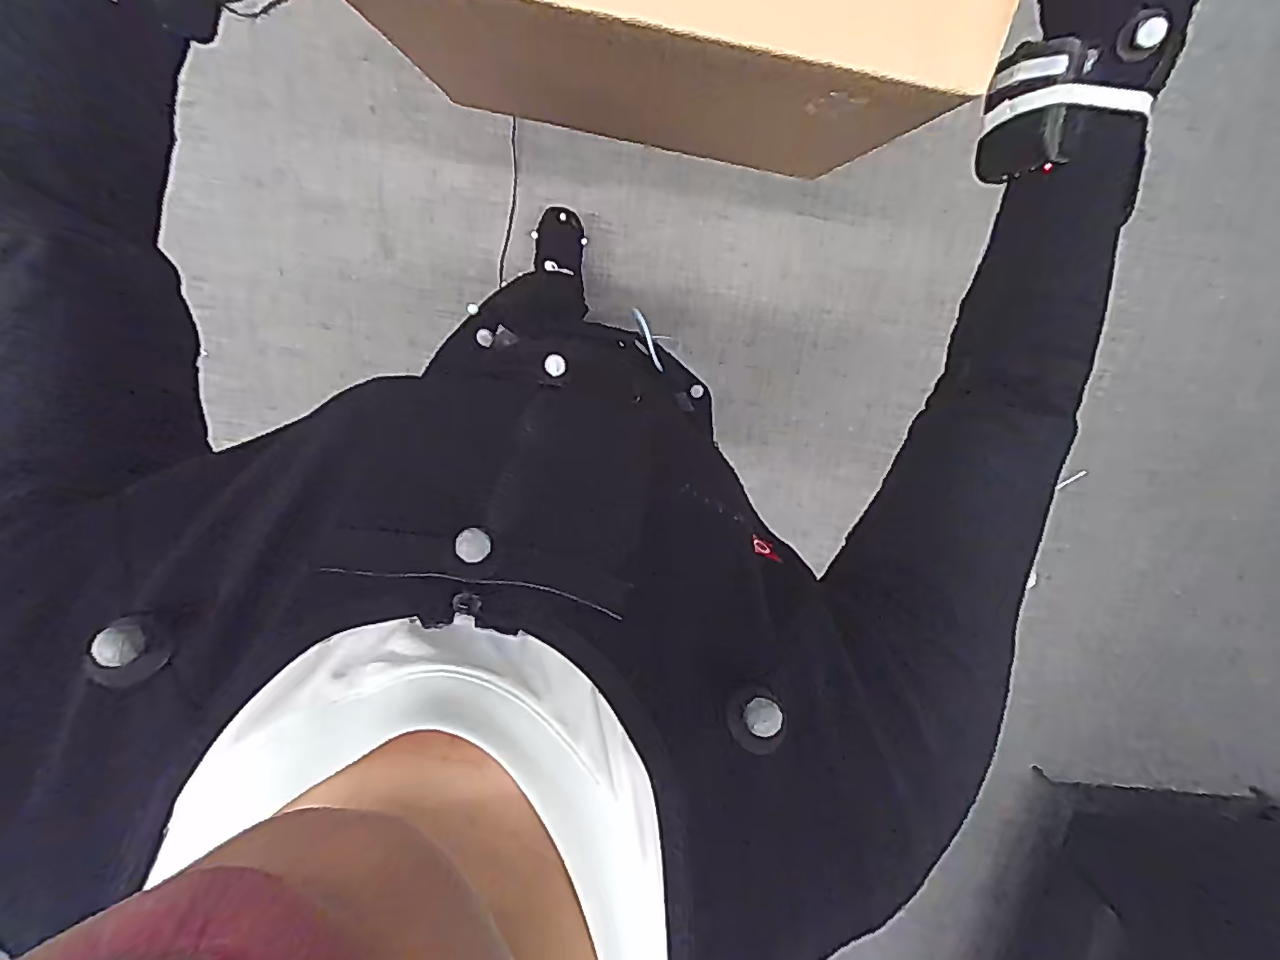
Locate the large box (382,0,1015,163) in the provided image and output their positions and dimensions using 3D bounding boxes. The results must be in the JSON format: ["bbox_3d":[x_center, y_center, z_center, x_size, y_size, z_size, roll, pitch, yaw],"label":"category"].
[{"bbox_3d":[0.034,-0.464,0.395,0.408,0.320,0.320,8,111,-6],"label":"large box"}]
